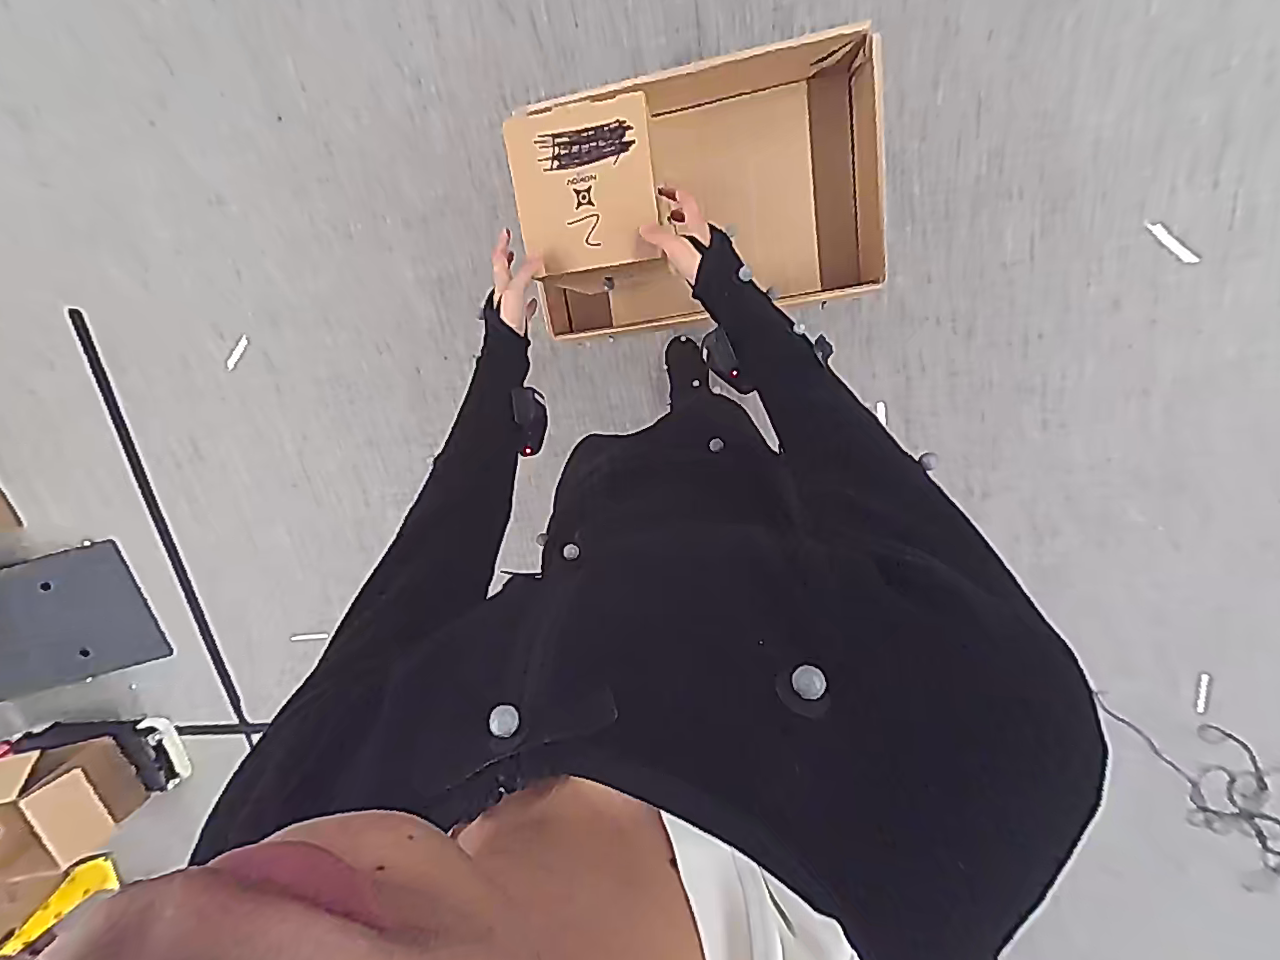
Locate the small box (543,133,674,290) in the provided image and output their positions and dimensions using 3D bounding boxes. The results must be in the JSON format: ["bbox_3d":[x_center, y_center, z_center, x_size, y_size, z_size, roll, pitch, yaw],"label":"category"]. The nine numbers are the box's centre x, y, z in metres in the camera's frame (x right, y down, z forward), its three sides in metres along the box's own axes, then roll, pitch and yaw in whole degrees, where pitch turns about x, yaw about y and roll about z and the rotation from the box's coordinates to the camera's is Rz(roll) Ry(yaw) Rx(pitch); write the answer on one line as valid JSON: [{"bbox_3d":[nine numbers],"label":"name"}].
[{"bbox_3d":[-0.039,-0.409,0.854,0.168,0.176,0.179,-6,104,9],"label":"small box"}]

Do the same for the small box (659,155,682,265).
[{"bbox_3d":[-0.021,-0.472,1.005,0.179,0.176,0.168,-12,104,11],"label":"small box"}]
